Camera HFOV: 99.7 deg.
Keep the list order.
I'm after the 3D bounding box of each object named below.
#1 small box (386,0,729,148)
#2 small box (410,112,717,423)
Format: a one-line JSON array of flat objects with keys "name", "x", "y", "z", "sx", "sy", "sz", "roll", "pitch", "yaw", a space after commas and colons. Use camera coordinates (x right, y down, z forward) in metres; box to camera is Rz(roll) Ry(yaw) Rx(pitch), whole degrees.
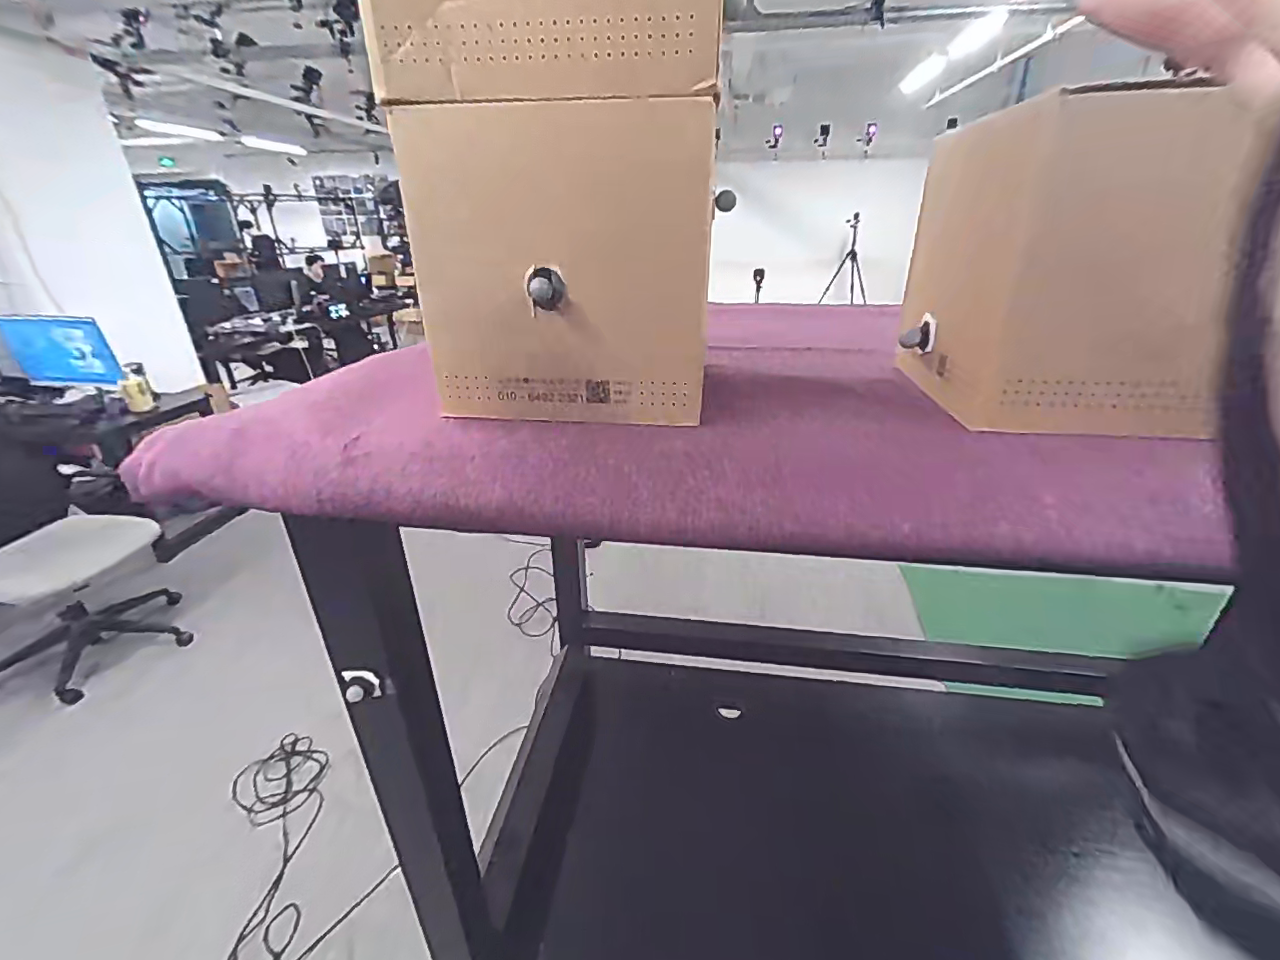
[{"name": "small box", "x": -0.037, "y": -0.293, "z": 0.317, "sx": 0.179, "sy": 0.176, "sz": 0.168, "roll": 3, "pitch": 26, "yaw": 4}, {"name": "small box", "x": -0.032, "y": -0.146, "z": 0.386, "sx": 0.168, "sy": 0.176, "sz": 0.179, "roll": 4, "pitch": 25, "yaw": 6}]
